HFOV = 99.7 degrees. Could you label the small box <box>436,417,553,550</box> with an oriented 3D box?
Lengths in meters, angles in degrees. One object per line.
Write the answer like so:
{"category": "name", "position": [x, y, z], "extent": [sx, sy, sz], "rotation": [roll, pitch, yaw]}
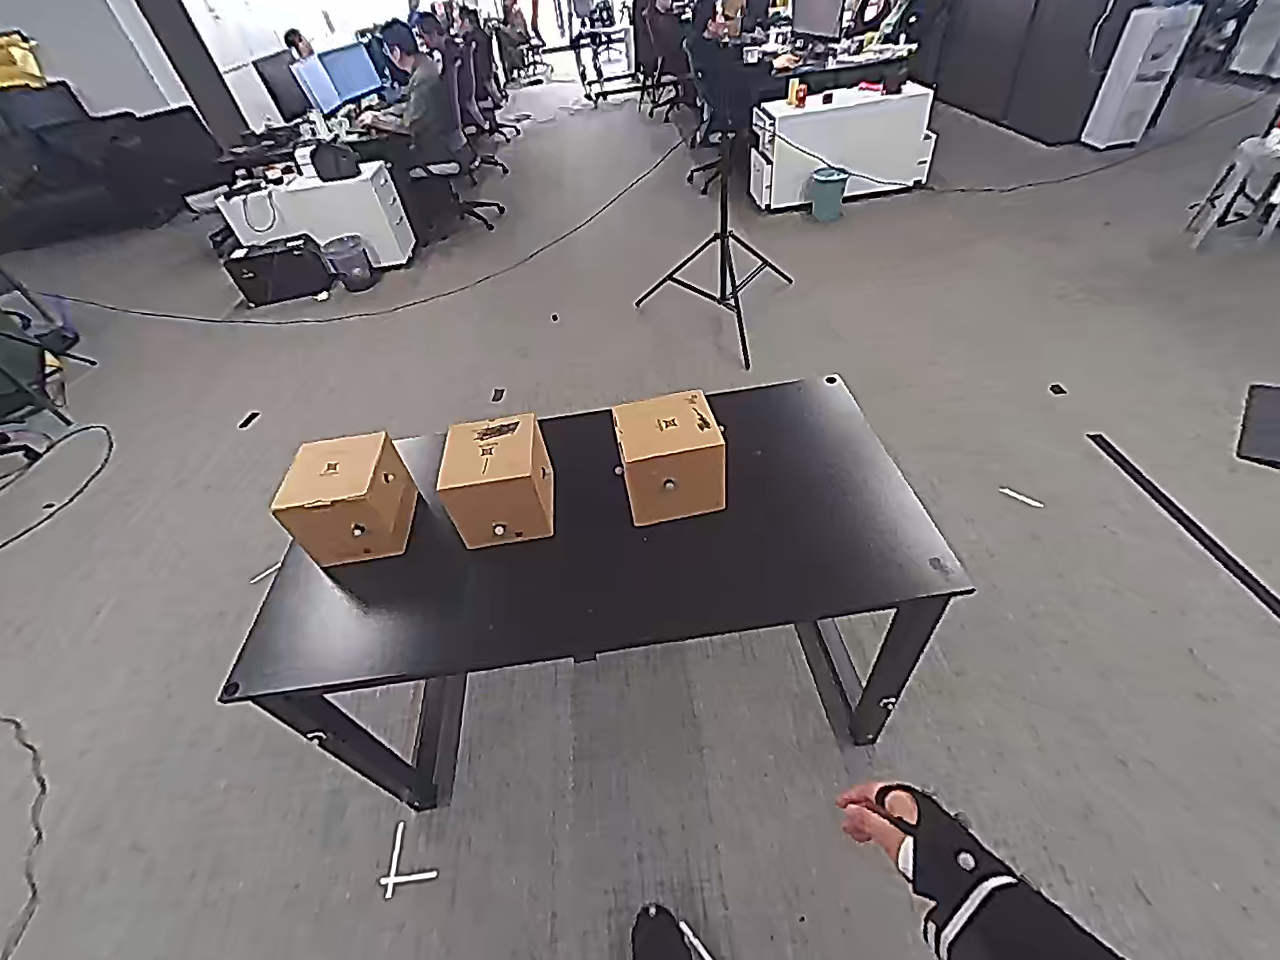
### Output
{"category": "small box", "position": [-0.265, 0.007, 1.027], "extent": [0.168, 0.176, 0.179], "rotation": [-9, 45, 0]}

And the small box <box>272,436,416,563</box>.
{"category": "small box", "position": [-0.550, 0.043, 1.036], "extent": [0.168, 0.176, 0.179], "rotation": [-9, 44, -2]}

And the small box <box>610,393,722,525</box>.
{"category": "small box", "position": [0.050, -0.035, 1.021], "extent": [0.179, 0.176, 0.168], "rotation": [-12, 45, -2]}
